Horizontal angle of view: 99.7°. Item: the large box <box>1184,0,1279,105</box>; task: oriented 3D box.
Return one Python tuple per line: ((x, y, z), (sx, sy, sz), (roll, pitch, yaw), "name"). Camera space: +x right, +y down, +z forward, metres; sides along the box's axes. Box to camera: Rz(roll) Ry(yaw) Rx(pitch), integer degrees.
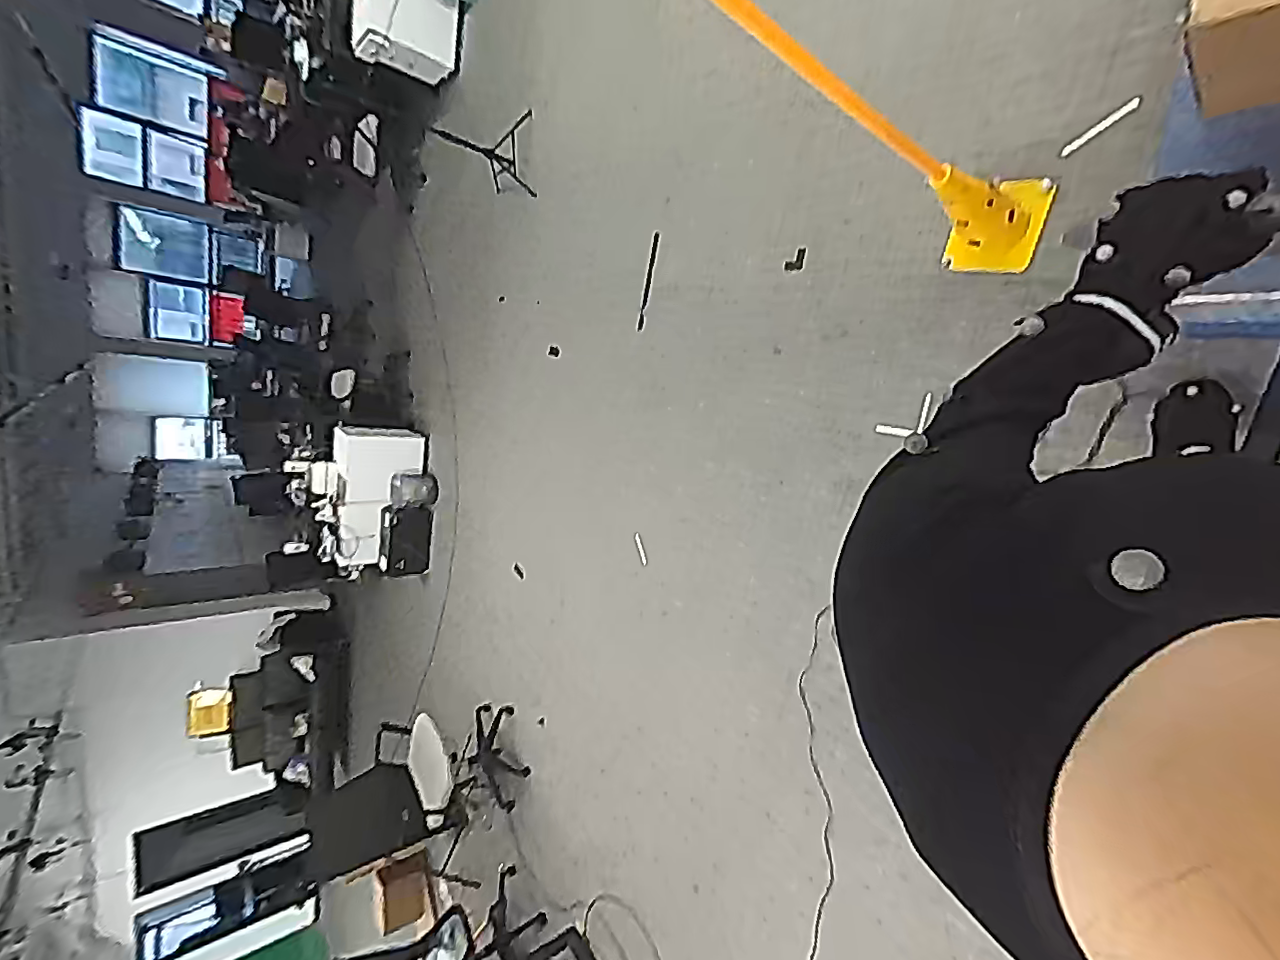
((0.988, -0.725, 0.644), (0.408, 0.320, 0.320), (20, 107, 48), "large box")
